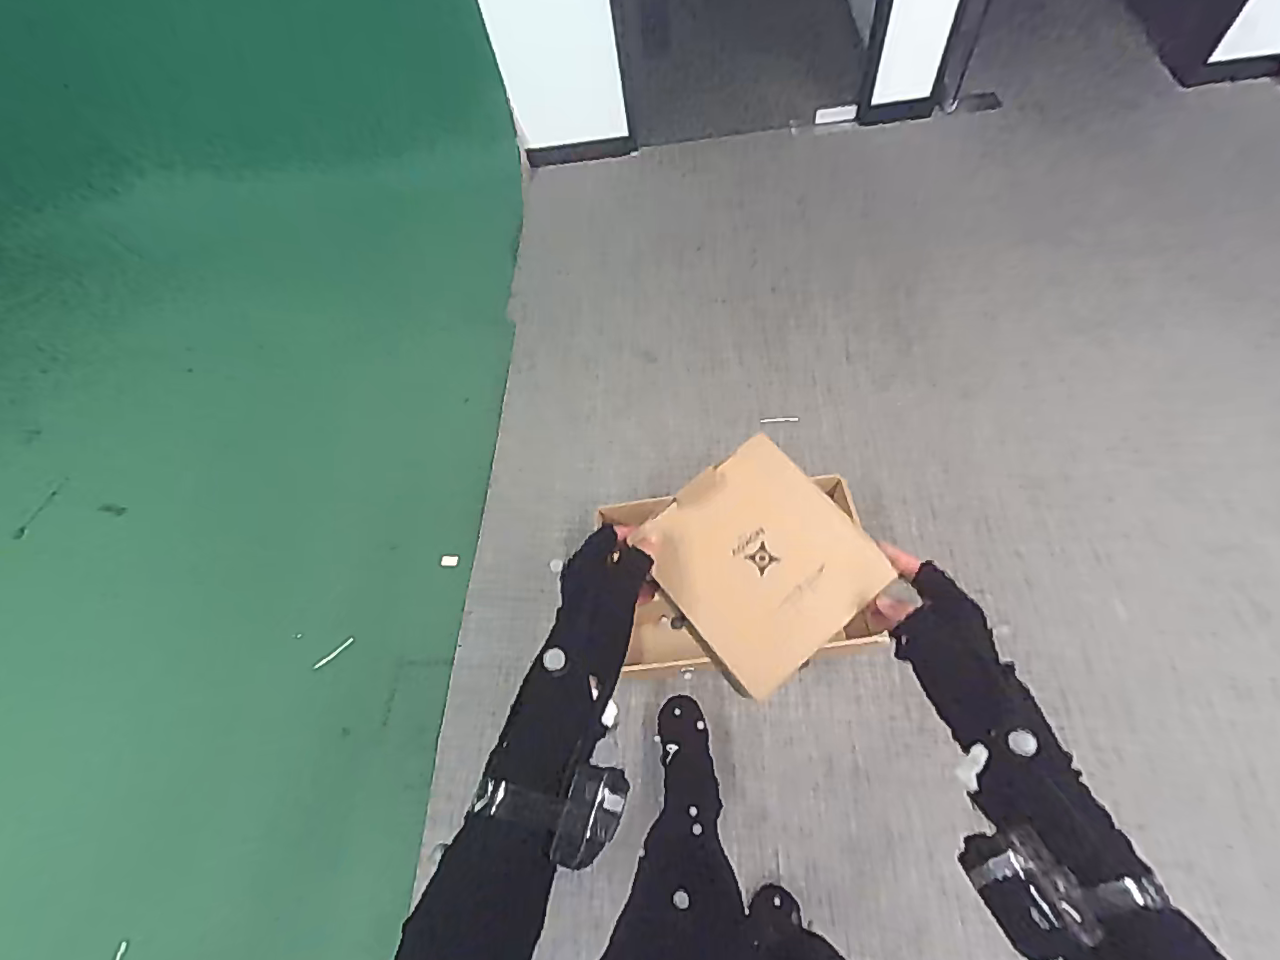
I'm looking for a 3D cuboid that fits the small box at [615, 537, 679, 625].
[{"bbox_3d":[0.042,0.237,1.296,0.179,0.176,0.168,-10,60,1],"label":"small box"}]

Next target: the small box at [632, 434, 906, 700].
[{"bbox_3d":[0.113,0.092,0.537,0.168,0.176,0.179,-40,73,-8],"label":"small box"}]
